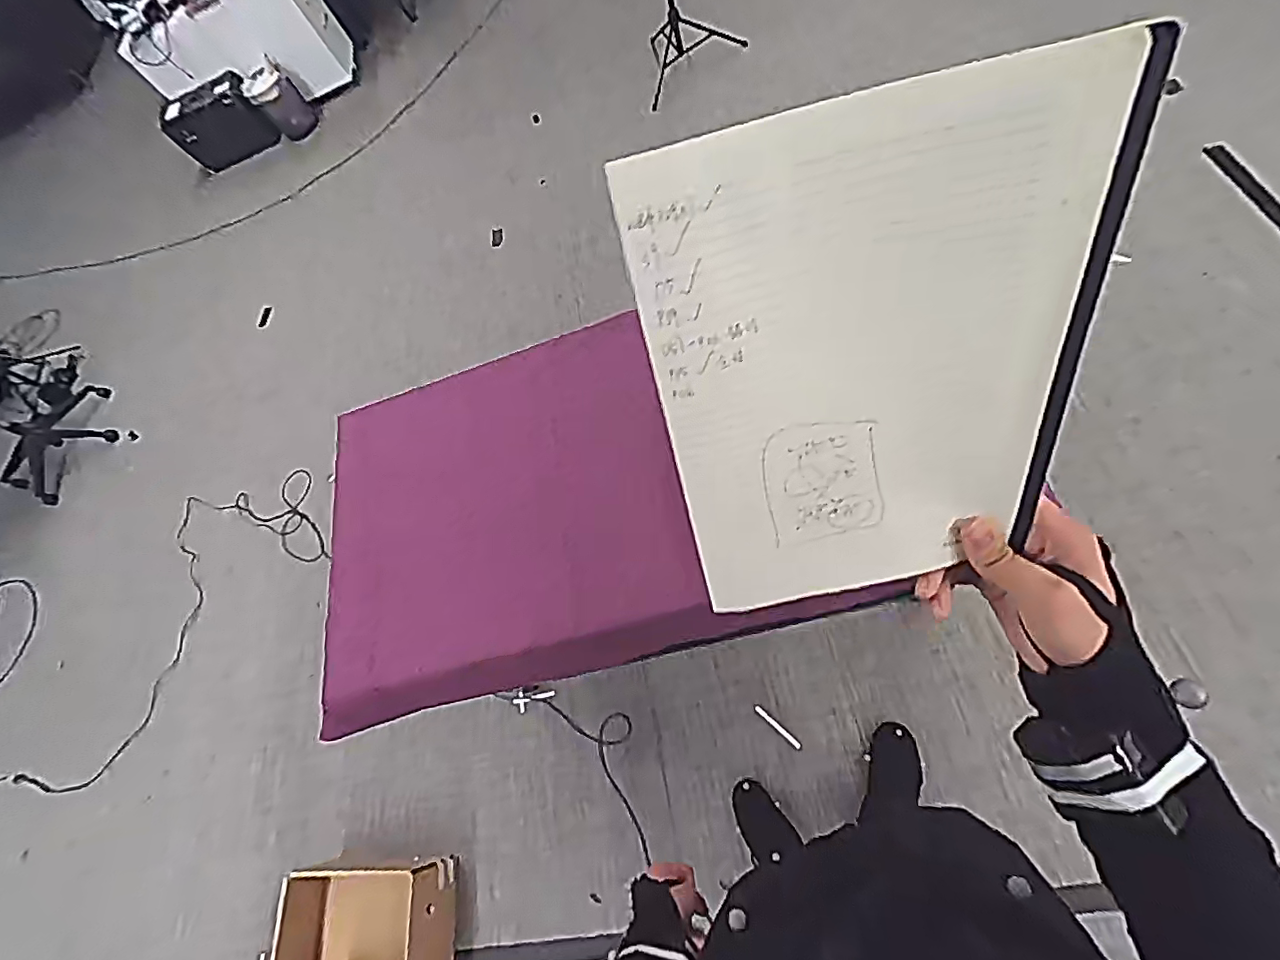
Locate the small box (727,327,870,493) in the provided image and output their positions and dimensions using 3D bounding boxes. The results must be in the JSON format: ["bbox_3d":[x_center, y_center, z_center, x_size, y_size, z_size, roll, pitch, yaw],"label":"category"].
[{"bbox_3d":[0.234,-0.091,0.807,0.168,0.176,0.179,-11,65,13],"label":"small box"}]
